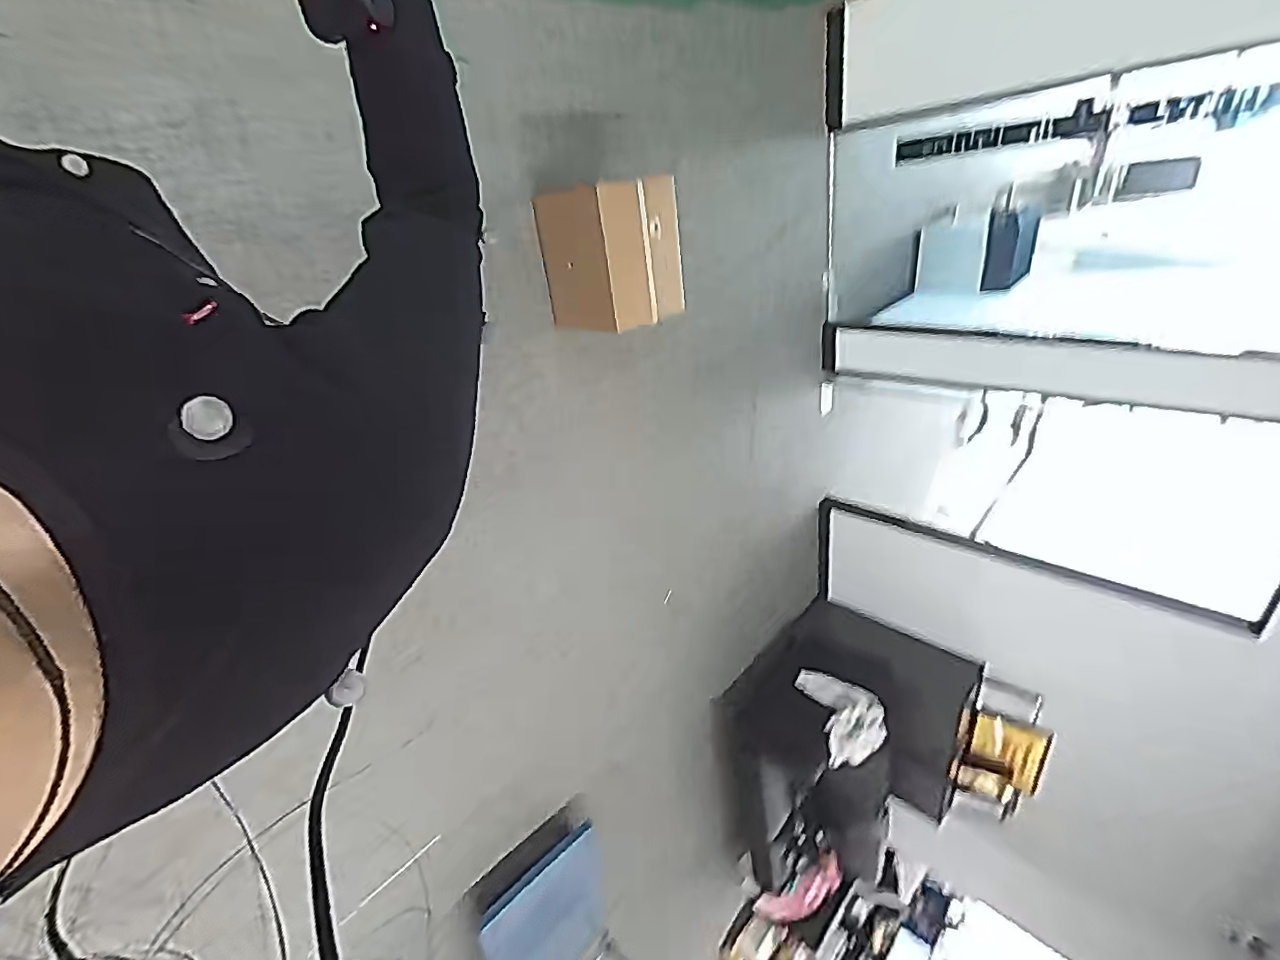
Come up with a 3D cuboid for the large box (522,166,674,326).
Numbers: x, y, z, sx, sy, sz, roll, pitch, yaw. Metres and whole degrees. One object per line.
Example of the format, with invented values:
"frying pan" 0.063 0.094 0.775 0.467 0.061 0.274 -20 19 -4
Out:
"large box" -0.126 -0.730 1.708 0.320 0.320 0.408 -31 125 -37
